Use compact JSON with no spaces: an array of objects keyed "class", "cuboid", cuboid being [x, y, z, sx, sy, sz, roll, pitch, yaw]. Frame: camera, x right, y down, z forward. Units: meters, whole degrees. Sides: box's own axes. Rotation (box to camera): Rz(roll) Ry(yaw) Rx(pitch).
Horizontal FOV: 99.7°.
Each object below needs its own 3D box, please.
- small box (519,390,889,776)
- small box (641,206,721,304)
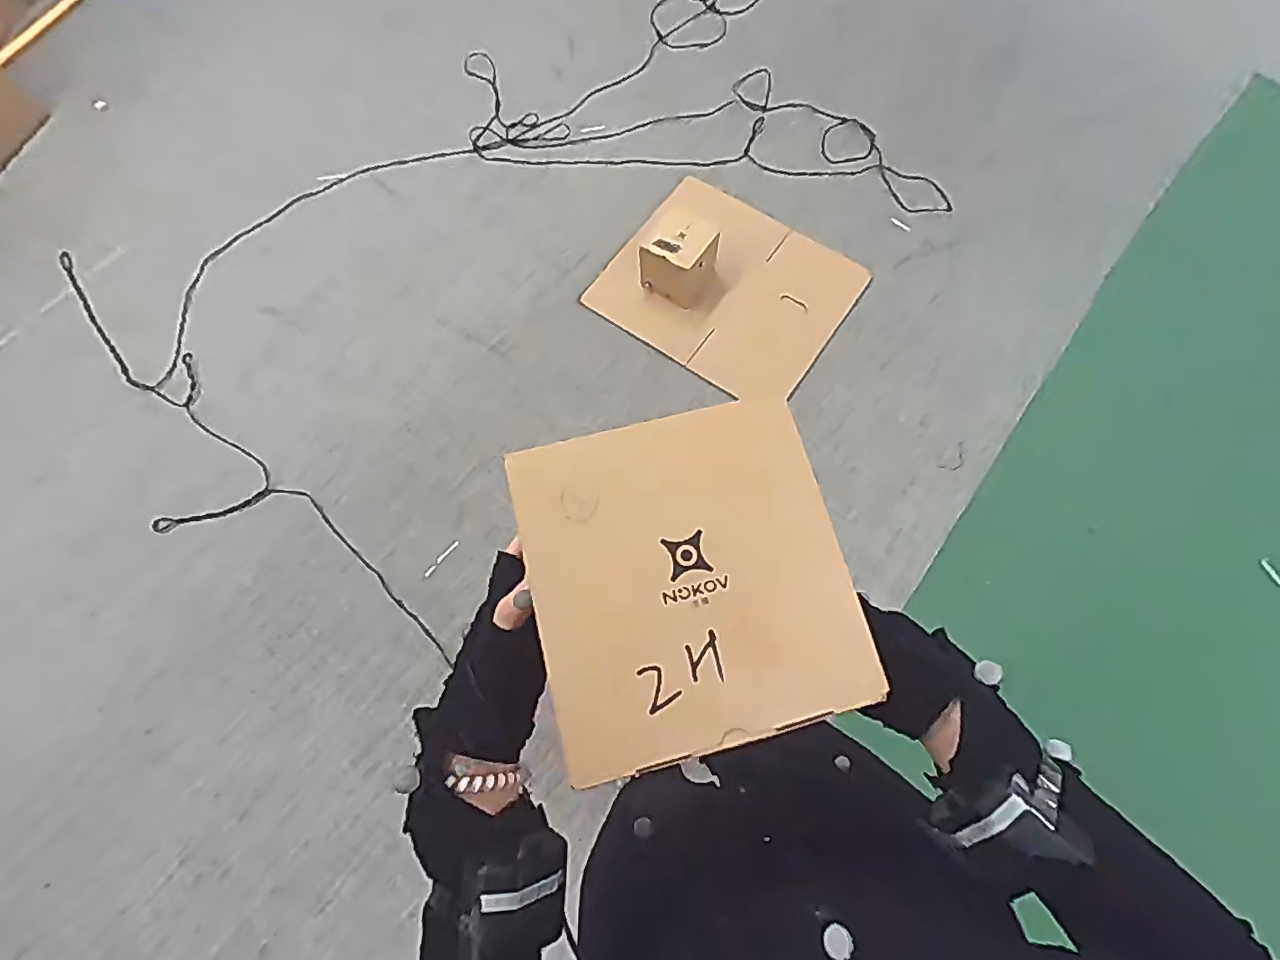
[{"class":"small box","cuboid":[0.026,0.065,0.365,0.168,0.176,0.179,-13,77,-5]},{"class":"small box","cuboid":[0.118,-0.656,1.594,0.168,0.176,0.179,32,74,11]}]
